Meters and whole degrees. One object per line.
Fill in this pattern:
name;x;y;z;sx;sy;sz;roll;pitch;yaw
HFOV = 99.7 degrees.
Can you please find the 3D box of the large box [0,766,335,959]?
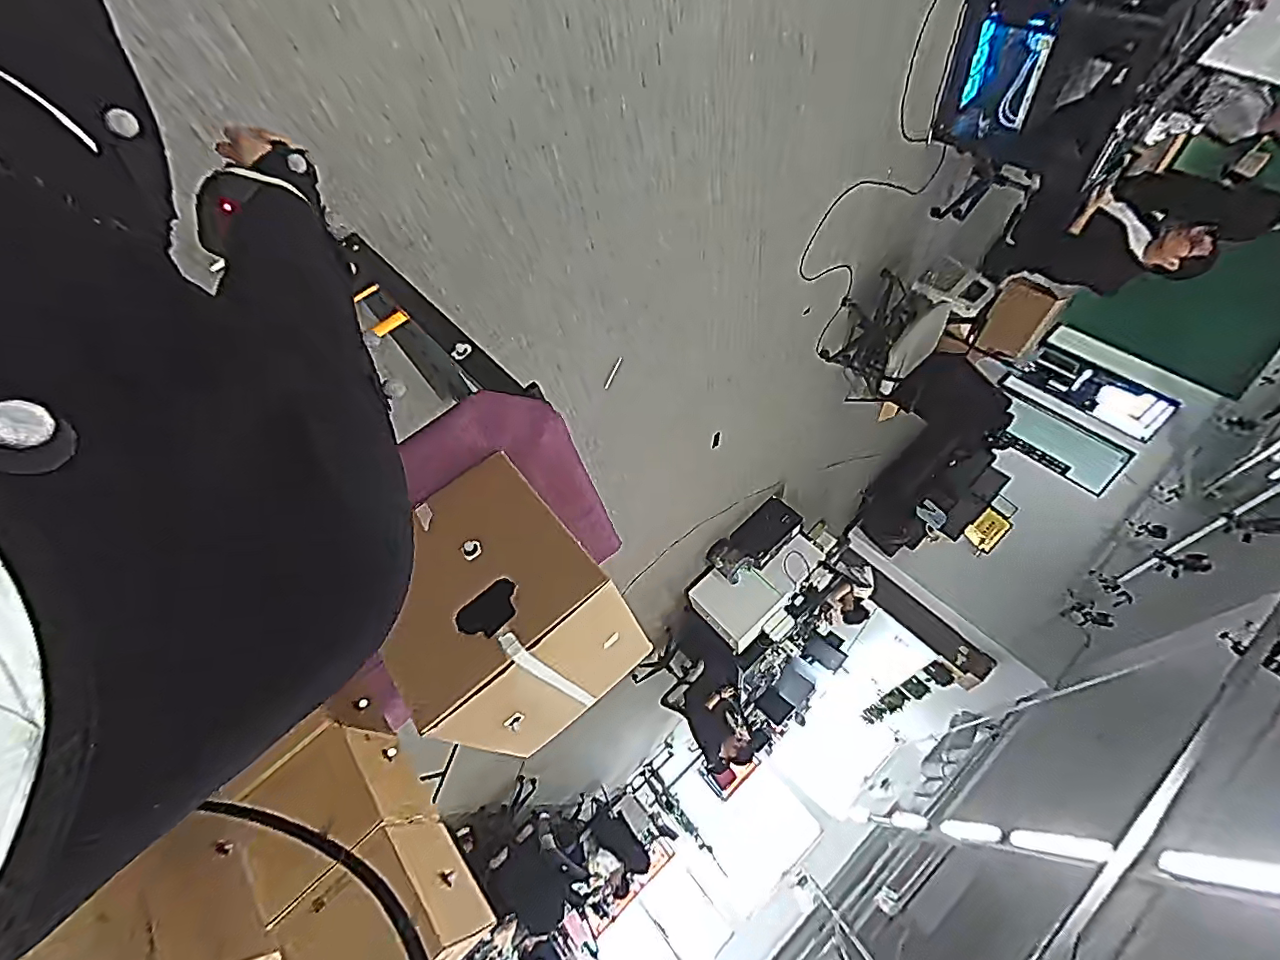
large box;-0.760;0.660;0.786;0.320;0.320;0.408;-40;152;-13
